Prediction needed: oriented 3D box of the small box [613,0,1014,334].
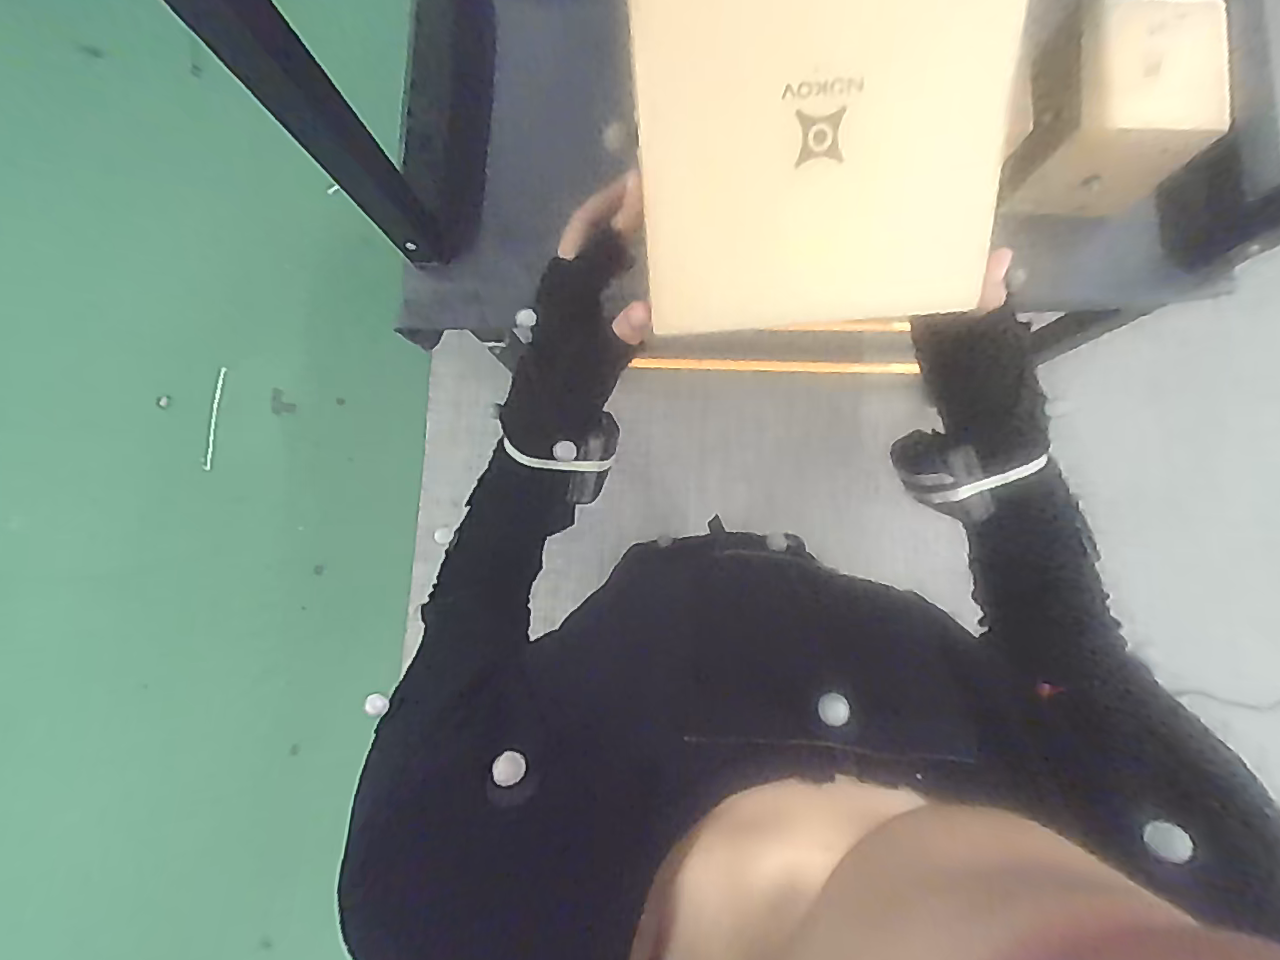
[{"bbox_3d":[0.077,-0.192,0.314,0.168,0.176,0.179,-4,112,3],"label":"small box"}]
